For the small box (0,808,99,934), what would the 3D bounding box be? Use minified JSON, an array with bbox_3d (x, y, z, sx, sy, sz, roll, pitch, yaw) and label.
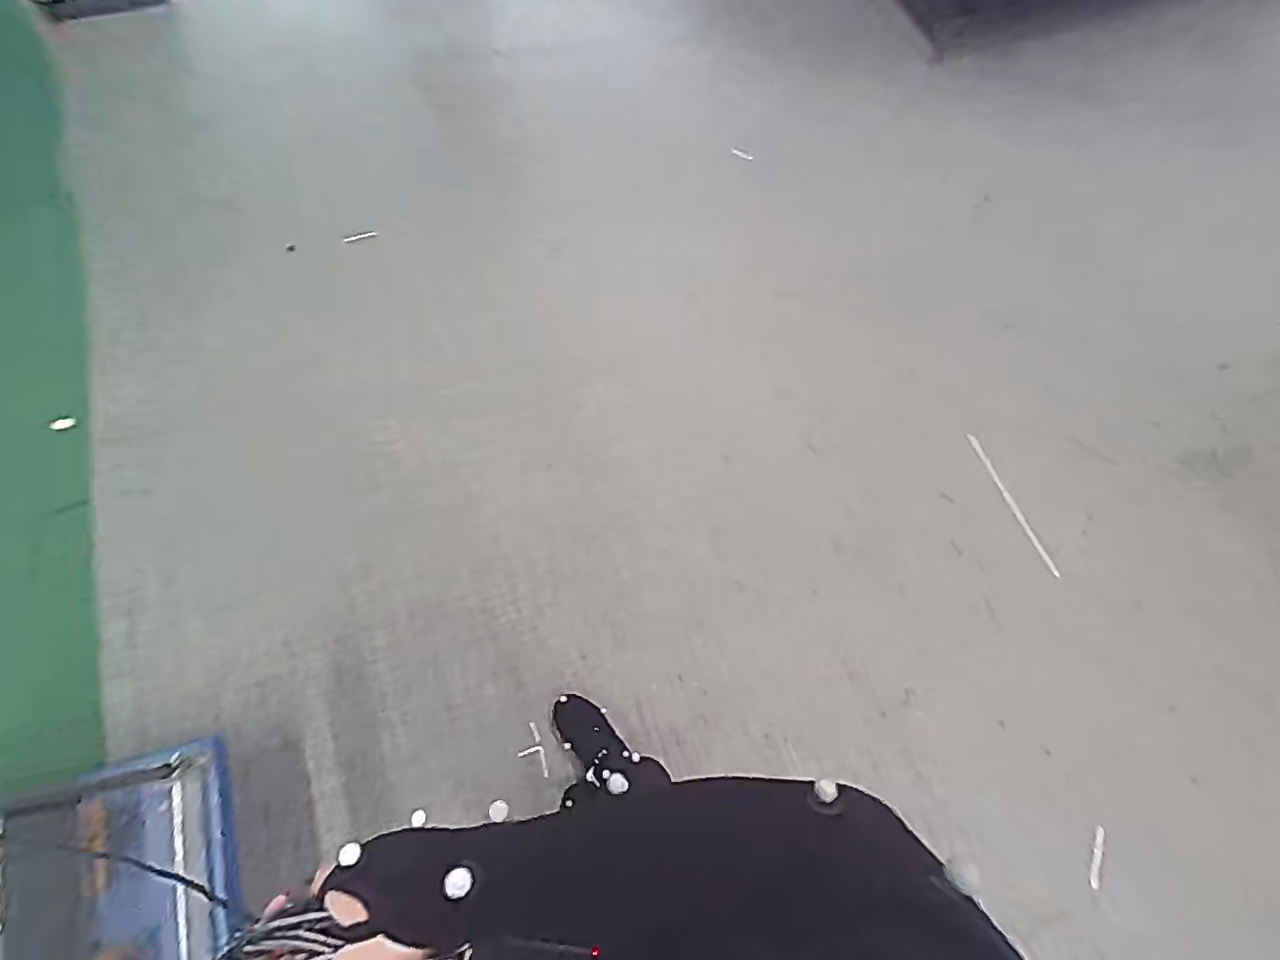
[{"bbox_3d":[-1.189,0.749,1.017,0.179,0.176,0.168,-15,72,-9],"label":"small box"}]
